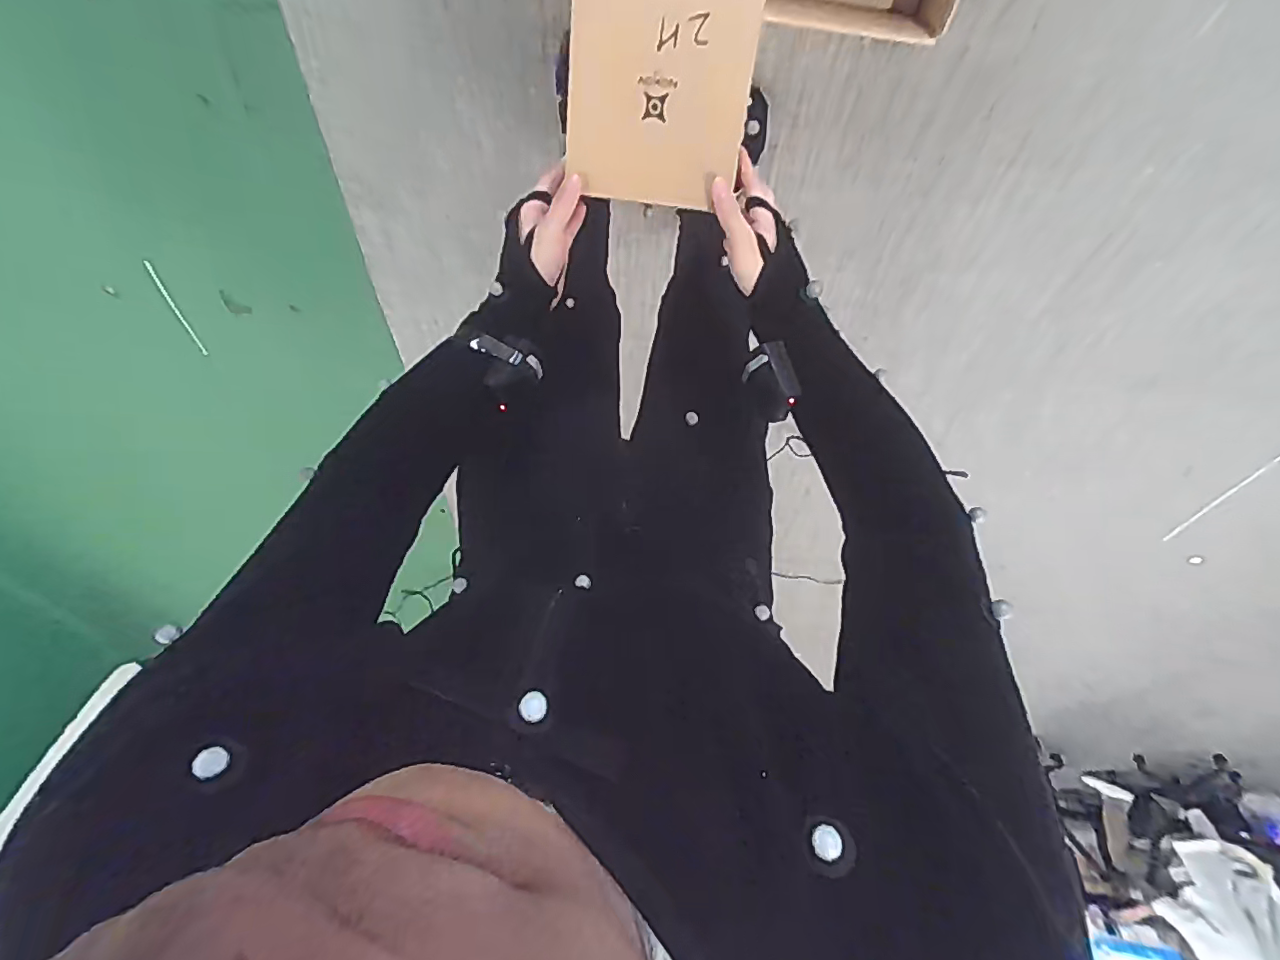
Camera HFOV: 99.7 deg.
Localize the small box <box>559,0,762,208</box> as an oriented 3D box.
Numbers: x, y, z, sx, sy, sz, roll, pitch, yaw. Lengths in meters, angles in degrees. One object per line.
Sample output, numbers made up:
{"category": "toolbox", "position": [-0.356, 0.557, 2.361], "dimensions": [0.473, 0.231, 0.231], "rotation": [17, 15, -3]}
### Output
{"category": "small box", "position": [0.021, -0.387, 0.555], "dimensions": [0.168, 0.176, 0.179], "rotation": [9, 117, 2]}
